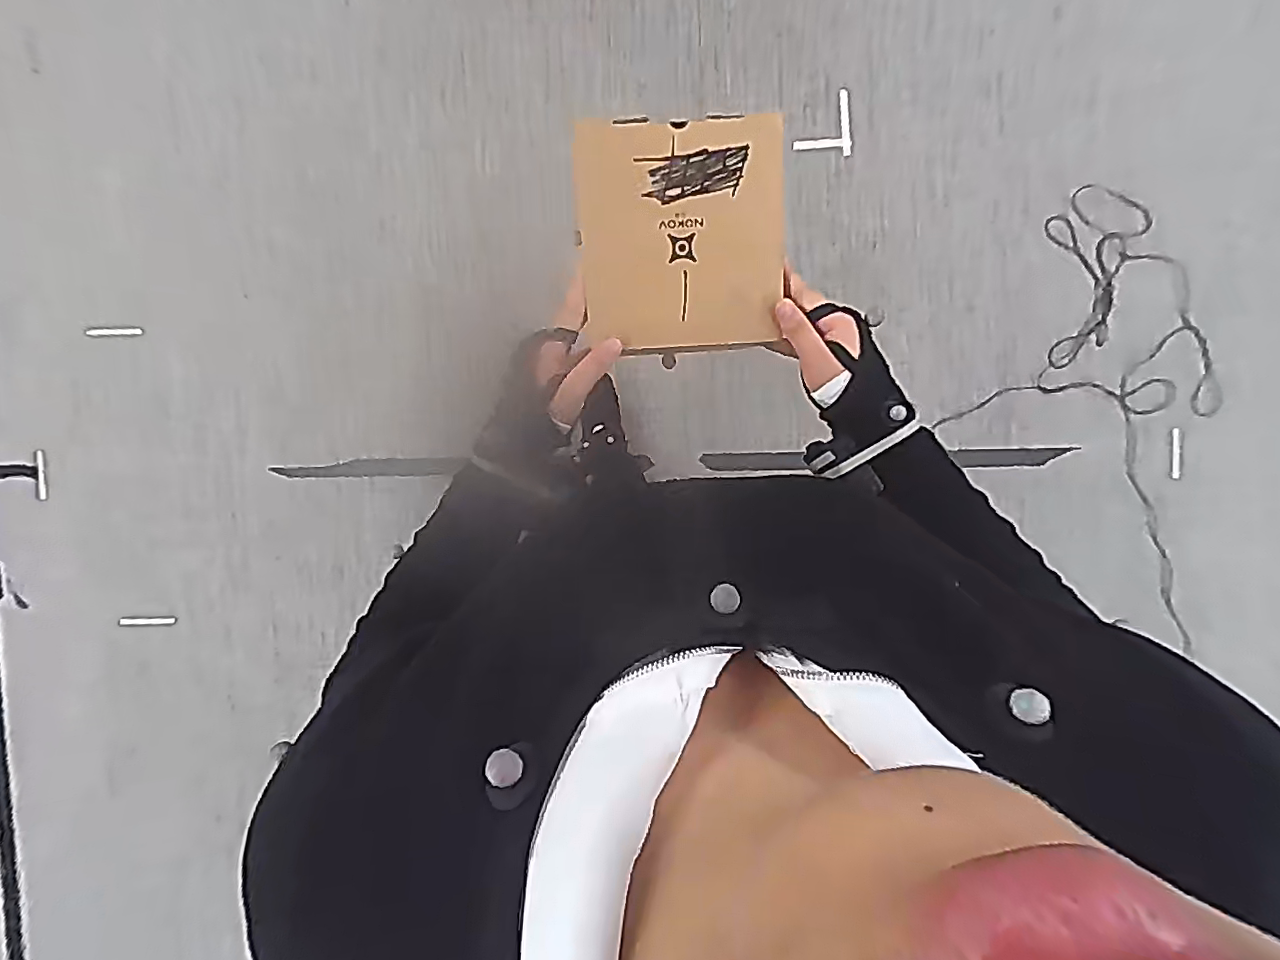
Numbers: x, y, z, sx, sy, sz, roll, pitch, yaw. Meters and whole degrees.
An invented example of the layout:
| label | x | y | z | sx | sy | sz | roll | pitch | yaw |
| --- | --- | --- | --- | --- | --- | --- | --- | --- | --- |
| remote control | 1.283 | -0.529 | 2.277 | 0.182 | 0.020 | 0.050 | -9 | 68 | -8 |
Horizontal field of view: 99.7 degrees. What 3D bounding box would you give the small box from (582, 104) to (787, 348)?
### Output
| label | x | y | z | sx | sy | sz | roll | pitch | yaw |
| --- | --- | --- | --- | --- | --- | --- | --- | --- | --- |
| small box | 0.034 | -0.222 | 0.517 | 0.168 | 0.176 | 0.179 | -3 | 102 | -1 |
